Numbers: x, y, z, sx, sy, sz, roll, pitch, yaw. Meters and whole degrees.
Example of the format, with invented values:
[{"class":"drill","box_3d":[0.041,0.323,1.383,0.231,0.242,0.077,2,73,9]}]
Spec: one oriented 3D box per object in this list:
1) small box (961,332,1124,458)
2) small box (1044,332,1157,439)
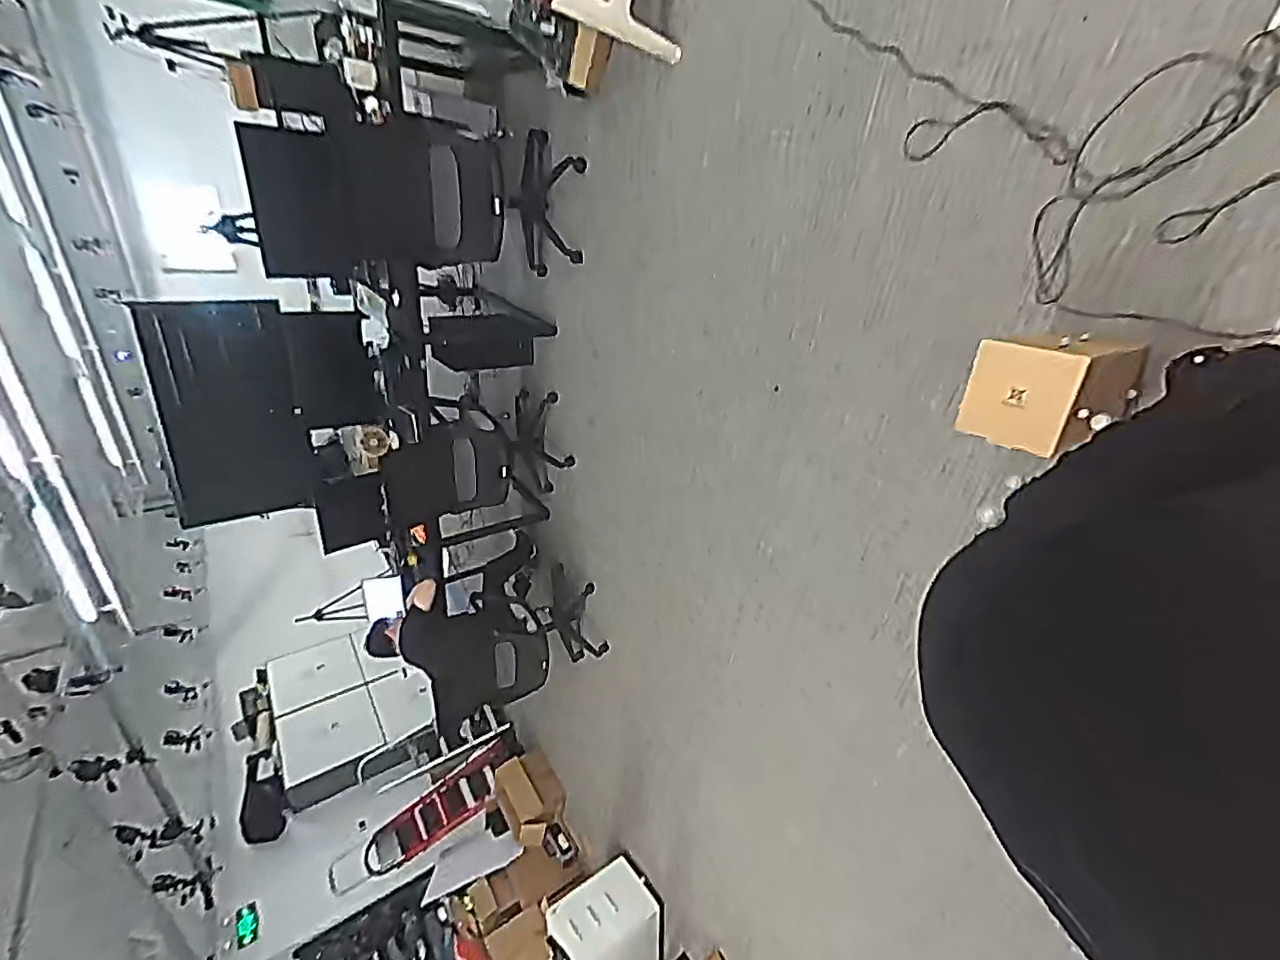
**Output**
[{"class":"small box","box_3d":[0.722,-0.162,0.971,0.168,0.176,0.179,32,129,46]},{"class":"small box","box_3d":[0.854,-0.193,1.060,0.179,0.176,0.168,30,127,47]}]
